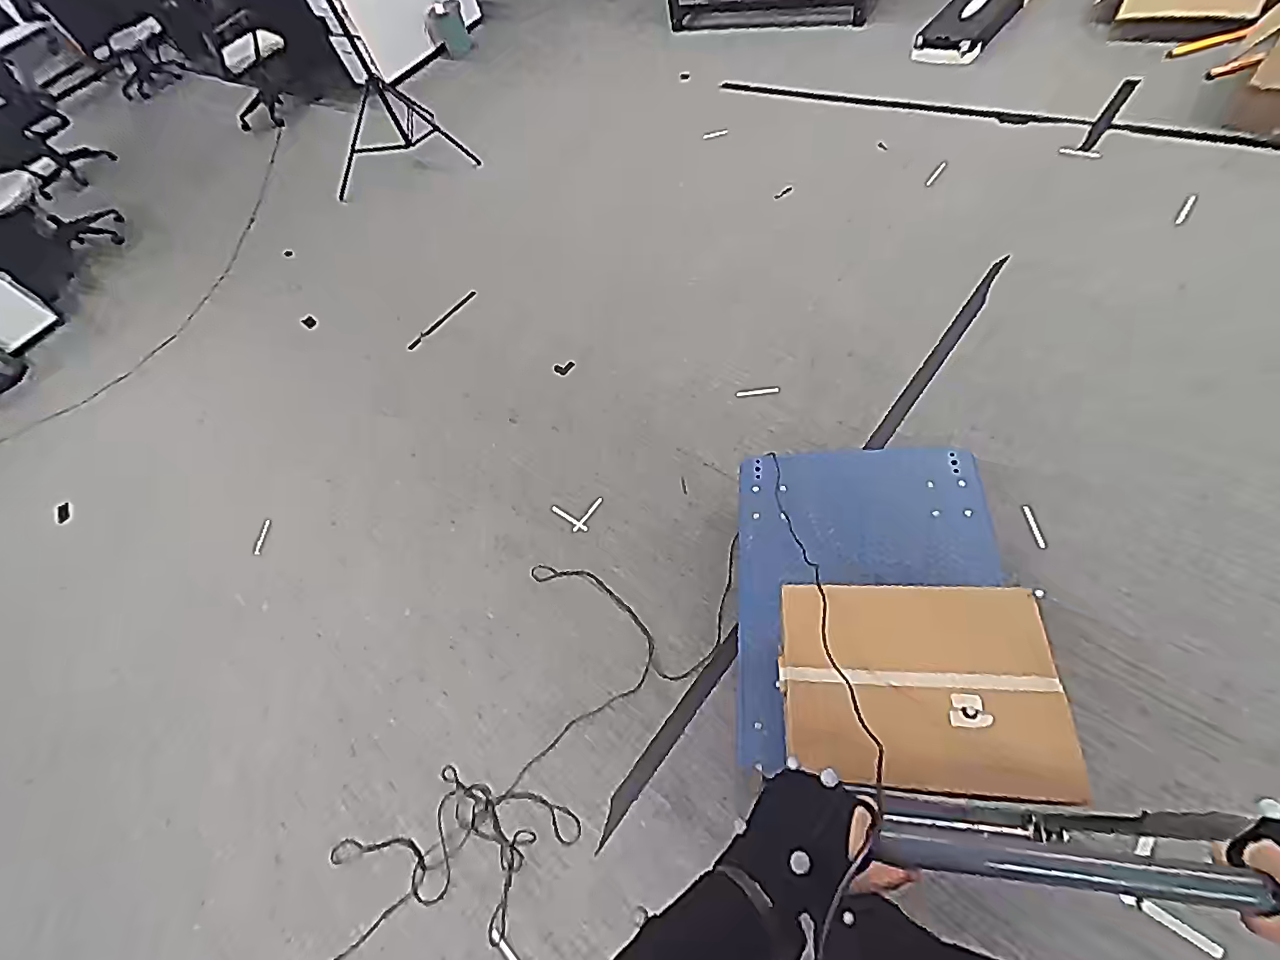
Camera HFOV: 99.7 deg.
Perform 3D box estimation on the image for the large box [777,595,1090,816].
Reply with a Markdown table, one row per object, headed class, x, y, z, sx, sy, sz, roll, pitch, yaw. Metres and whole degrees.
| class | x | y | z | sx | sy | sz | roll | pitch | yaw |
| --- | --- | --- | --- | --- | --- | --- | --- | --- | --- |
| large box | 0.464 | 0.409 | 0.977 | 0.408 | 0.320 | 0.320 | -1 | 59 | 13 |
